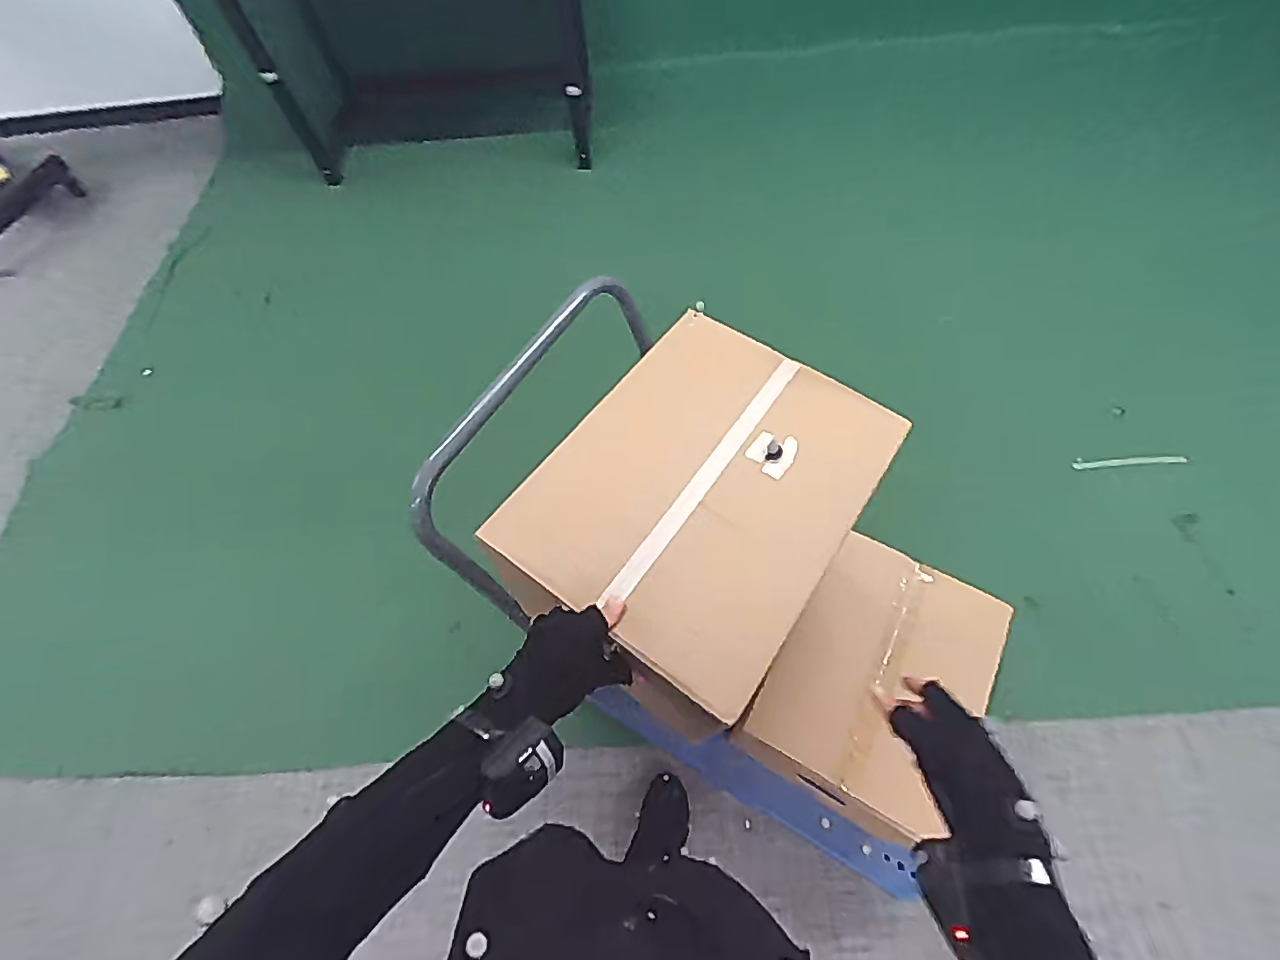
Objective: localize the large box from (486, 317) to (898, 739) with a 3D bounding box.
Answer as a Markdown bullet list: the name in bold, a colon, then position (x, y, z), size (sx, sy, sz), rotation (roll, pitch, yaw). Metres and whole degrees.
- **large box**: position (0.069, 0.069, 0.731), size (0.320, 0.320, 0.408), rotation (33, 65, 16)
